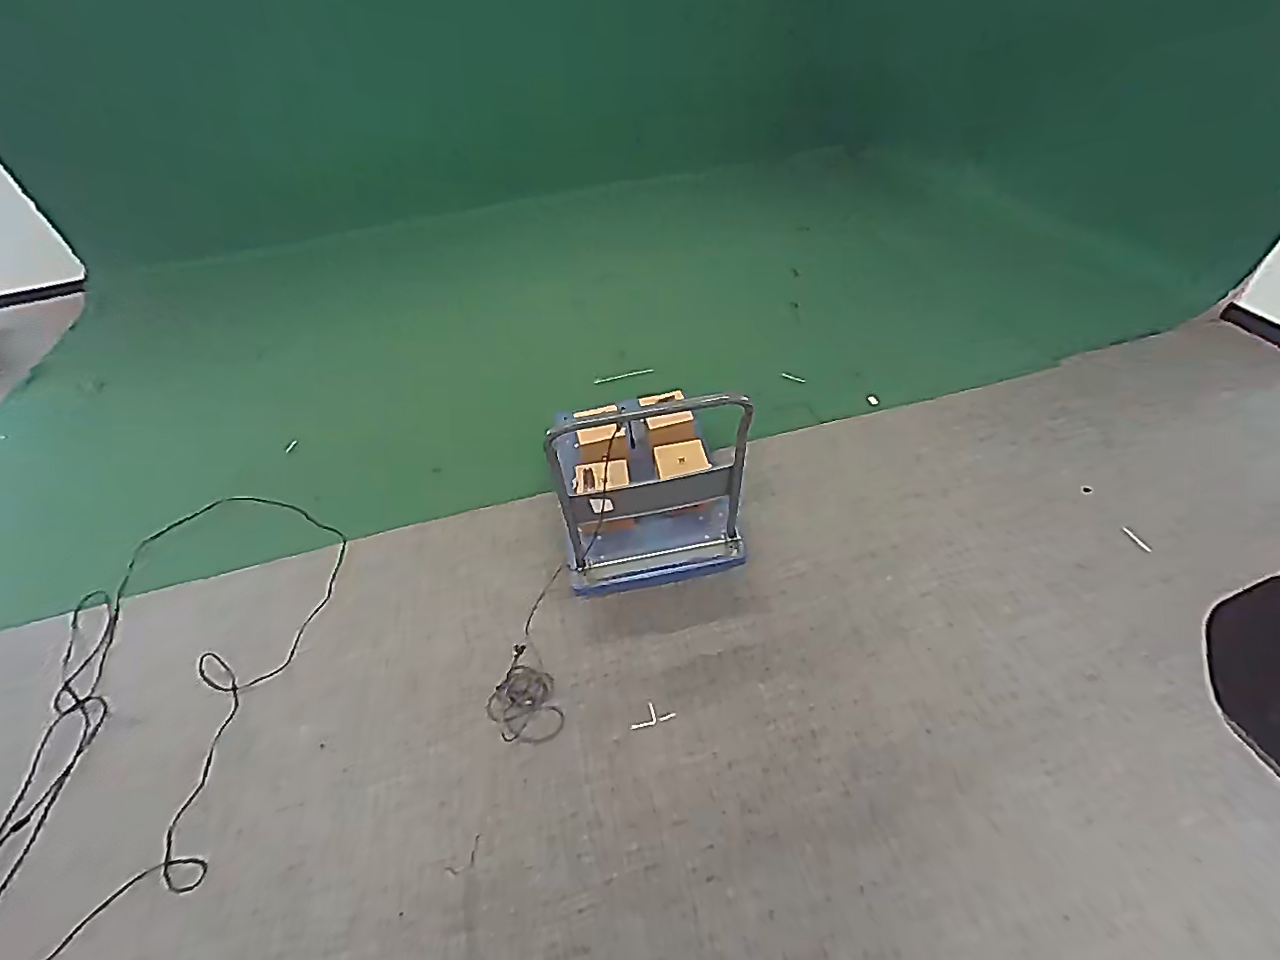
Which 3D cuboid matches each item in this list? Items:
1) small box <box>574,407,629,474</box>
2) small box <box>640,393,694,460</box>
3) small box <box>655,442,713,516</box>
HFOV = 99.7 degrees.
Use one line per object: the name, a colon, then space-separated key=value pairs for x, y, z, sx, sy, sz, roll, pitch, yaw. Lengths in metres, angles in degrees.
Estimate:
small box: x=-0.141 y=-0.140 z=2.013 sx=0.168 sy=0.176 sz=0.179 roll=-13 pitch=48 yaw=-6
small box: x=0.102 y=-0.199 z=2.037 sx=0.168 sy=0.176 sz=0.179 roll=-14 pitch=49 yaw=-5
small box: x=0.148 y=-0.003 z=1.857 sx=0.168 sy=0.176 sz=0.179 roll=-10 pitch=48 yaw=-2
